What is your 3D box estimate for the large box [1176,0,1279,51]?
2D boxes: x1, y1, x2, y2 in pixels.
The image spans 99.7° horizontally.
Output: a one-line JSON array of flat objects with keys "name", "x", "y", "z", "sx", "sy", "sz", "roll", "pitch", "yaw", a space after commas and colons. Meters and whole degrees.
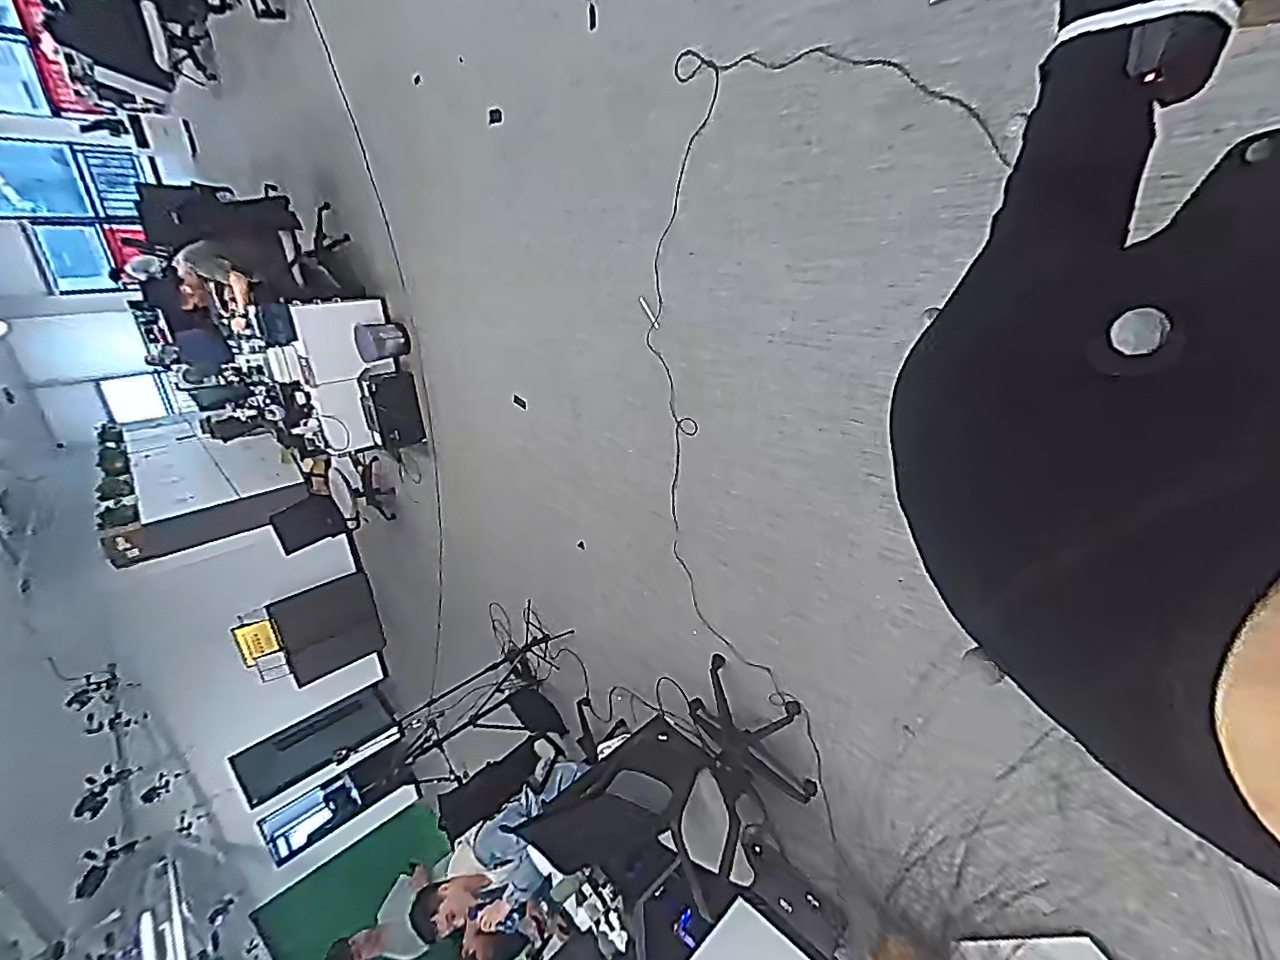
[{"name": "large box", "x": 0.591, "y": -0.443, "z": 0.261, "sx": 0.408, "sy": 0.320, "sz": 0.320, "roll": 22, "pitch": 132, "yaw": 37}]
